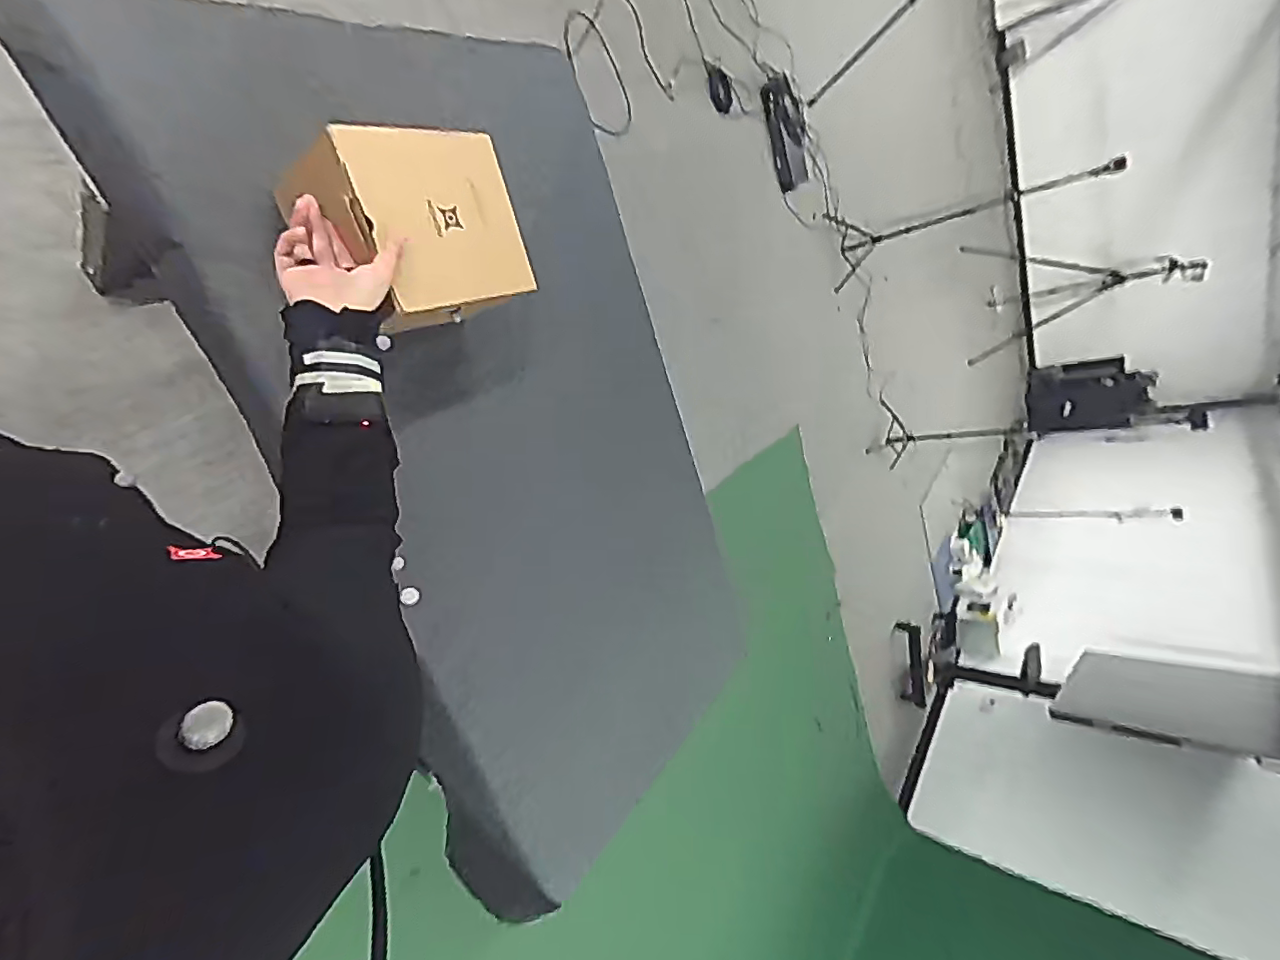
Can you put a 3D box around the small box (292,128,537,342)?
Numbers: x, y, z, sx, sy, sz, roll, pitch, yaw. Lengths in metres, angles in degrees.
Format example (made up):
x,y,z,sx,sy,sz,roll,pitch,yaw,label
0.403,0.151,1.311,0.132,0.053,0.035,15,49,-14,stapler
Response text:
x,y,z,sx,sy,sz,roll,pitch,yaw,label
-0.252,-0.260,0.599,0.179,0.176,0.168,-32,114,-44,small box
